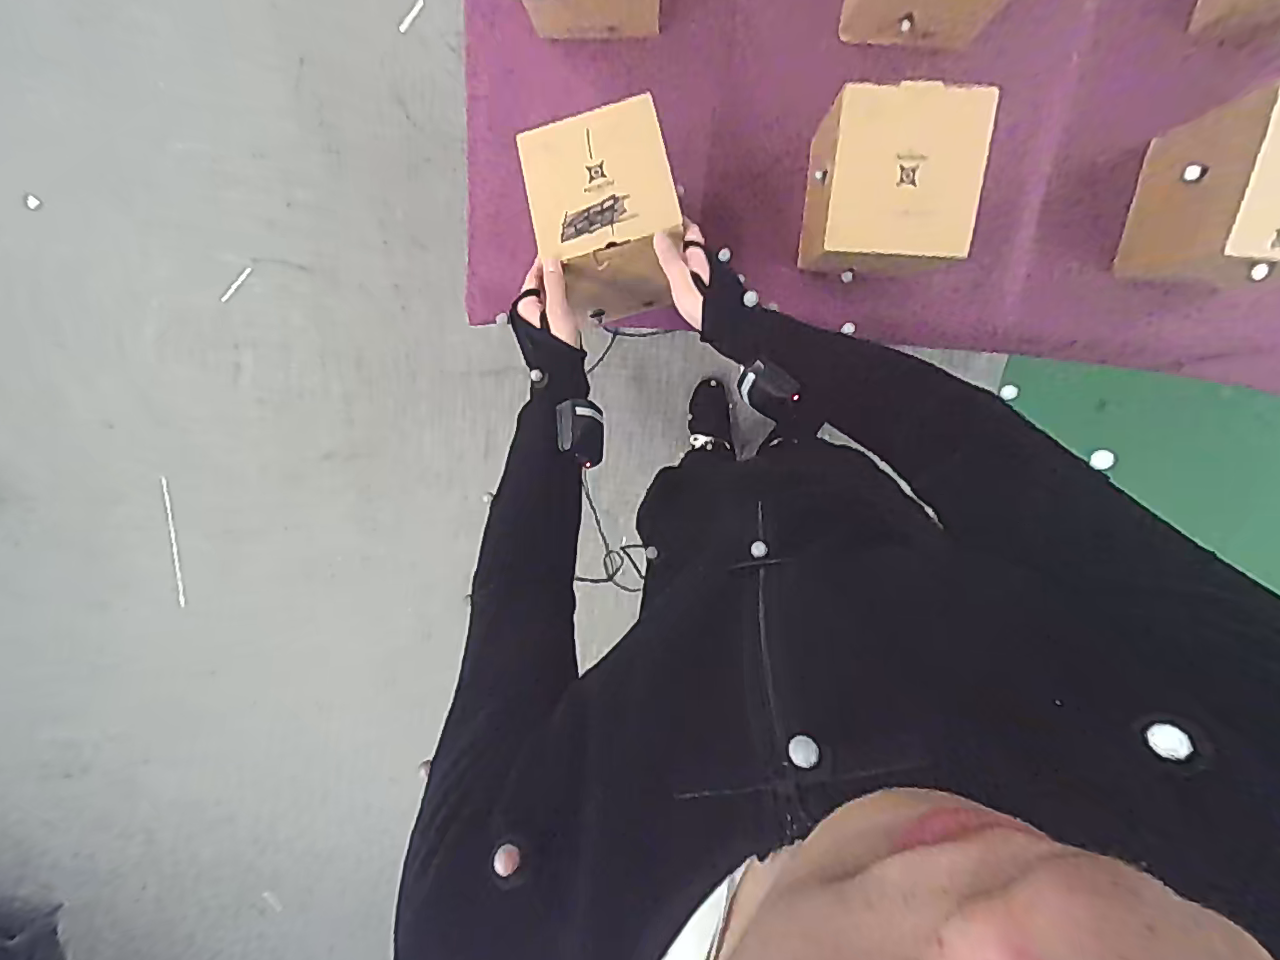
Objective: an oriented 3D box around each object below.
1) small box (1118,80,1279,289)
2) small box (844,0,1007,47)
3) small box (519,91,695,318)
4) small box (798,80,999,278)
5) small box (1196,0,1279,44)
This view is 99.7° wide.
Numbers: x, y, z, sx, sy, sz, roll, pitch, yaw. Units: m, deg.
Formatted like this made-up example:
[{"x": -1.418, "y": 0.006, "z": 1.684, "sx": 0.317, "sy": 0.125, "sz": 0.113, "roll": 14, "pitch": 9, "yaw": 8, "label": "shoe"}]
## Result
[{"x": 0.740, "y": -0.341, "z": 0.654, "sx": 0.168, "sy": 0.176, "sz": 0.179, "roll": 7, "pitch": 103, "yaw": 3, "label": "small box"}, {"x": 0.347, "y": -0.639, "z": 0.611, "sx": 0.168, "sy": 0.176, "sz": 0.179, "roll": 6, "pitch": 106, "yaw": 2, "label": "small box"}, {"x": -0.032, "y": -0.323, "z": 0.677, "sx": 0.168, "sy": 0.176, "sz": 0.179, "roll": -14, "pitch": 79, "yaw": 7, "label": "small box"}, {"x": 0.306, "y": -0.364, "z": 0.683, "sx": 0.168, "sy": 0.176, "sz": 0.179, "roll": 5, "pitch": 104, "yaw": 4, "label": "small box"}, {"x": 0.774, "y": -0.615, "z": 0.580, "sx": 0.168, "sy": 0.176, "sz": 0.179, "roll": 8, "pitch": 106, "yaw": 5, "label": "small box"}]
